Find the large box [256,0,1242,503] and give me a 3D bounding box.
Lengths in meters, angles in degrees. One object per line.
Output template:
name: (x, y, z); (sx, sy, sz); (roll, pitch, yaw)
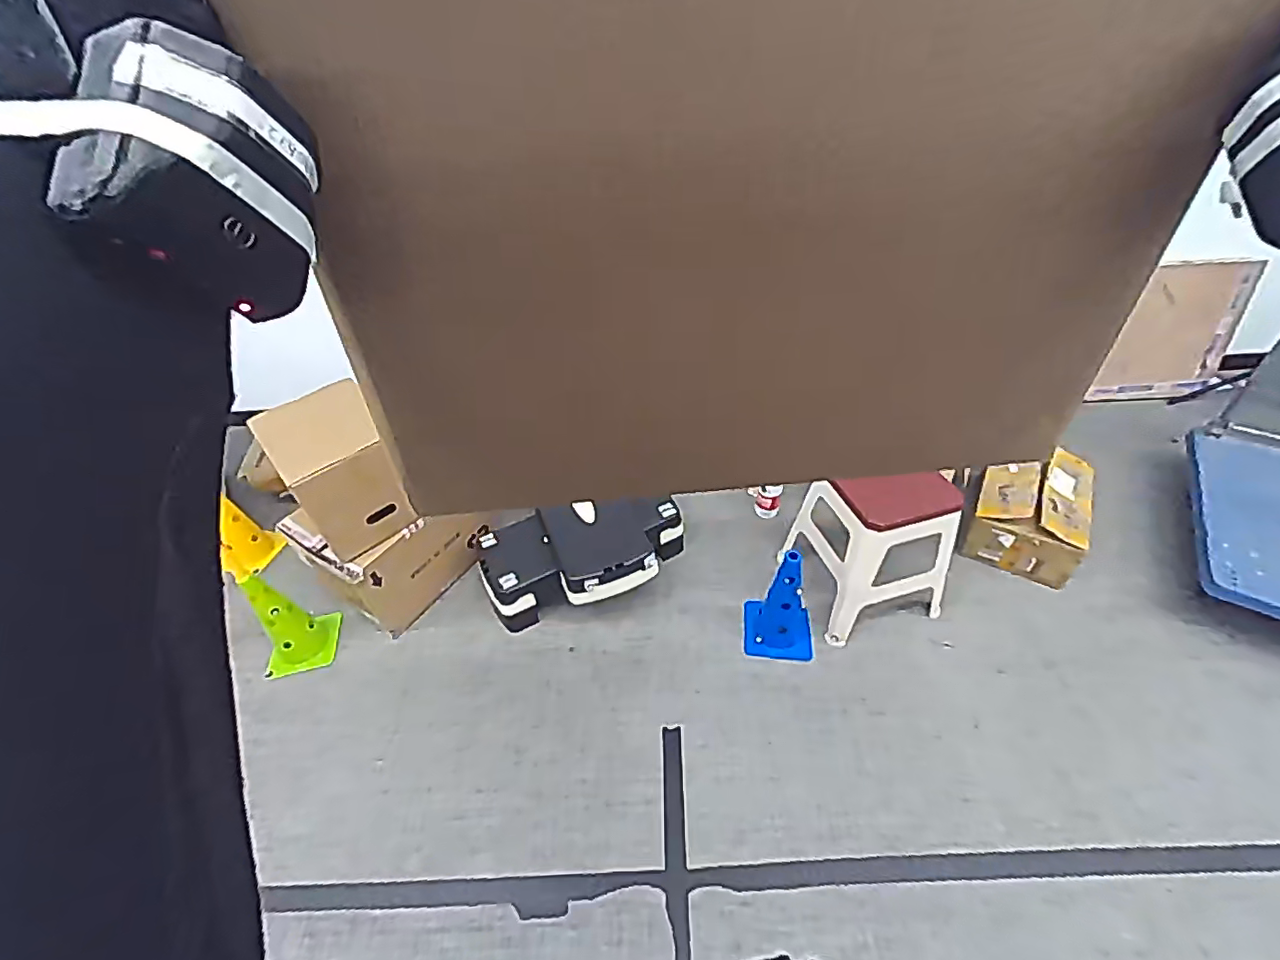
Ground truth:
large box: (0.041, -0.209, 0.372); (0.408, 0.320, 0.320); (-5, 39, -5)
